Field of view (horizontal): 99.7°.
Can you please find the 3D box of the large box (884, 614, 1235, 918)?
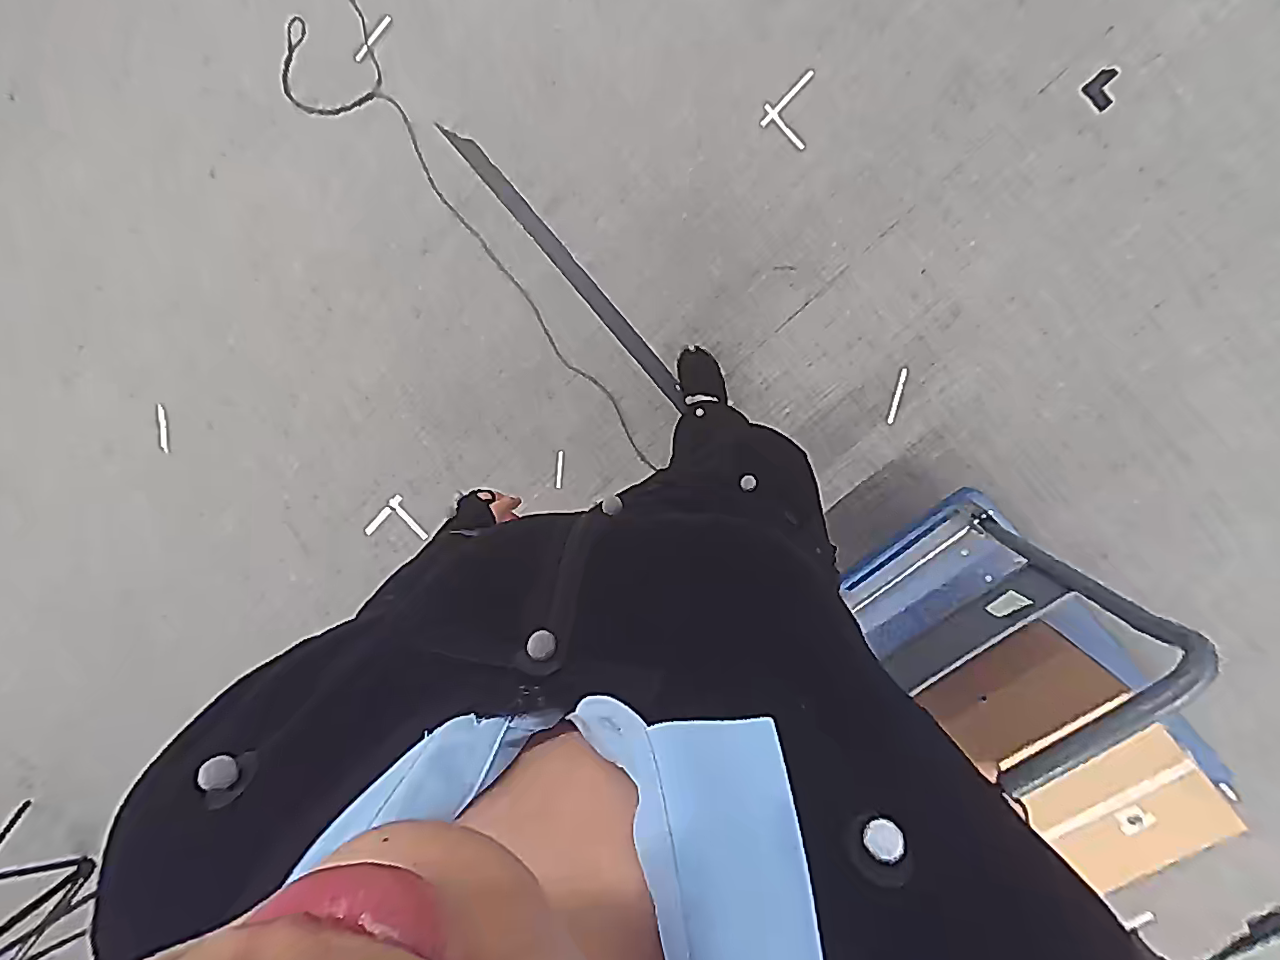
[{"bbox_3d":[0.795,0.554,1.105,0.408,0.320,0.320,-40,91,13],"label":"large box"}]
